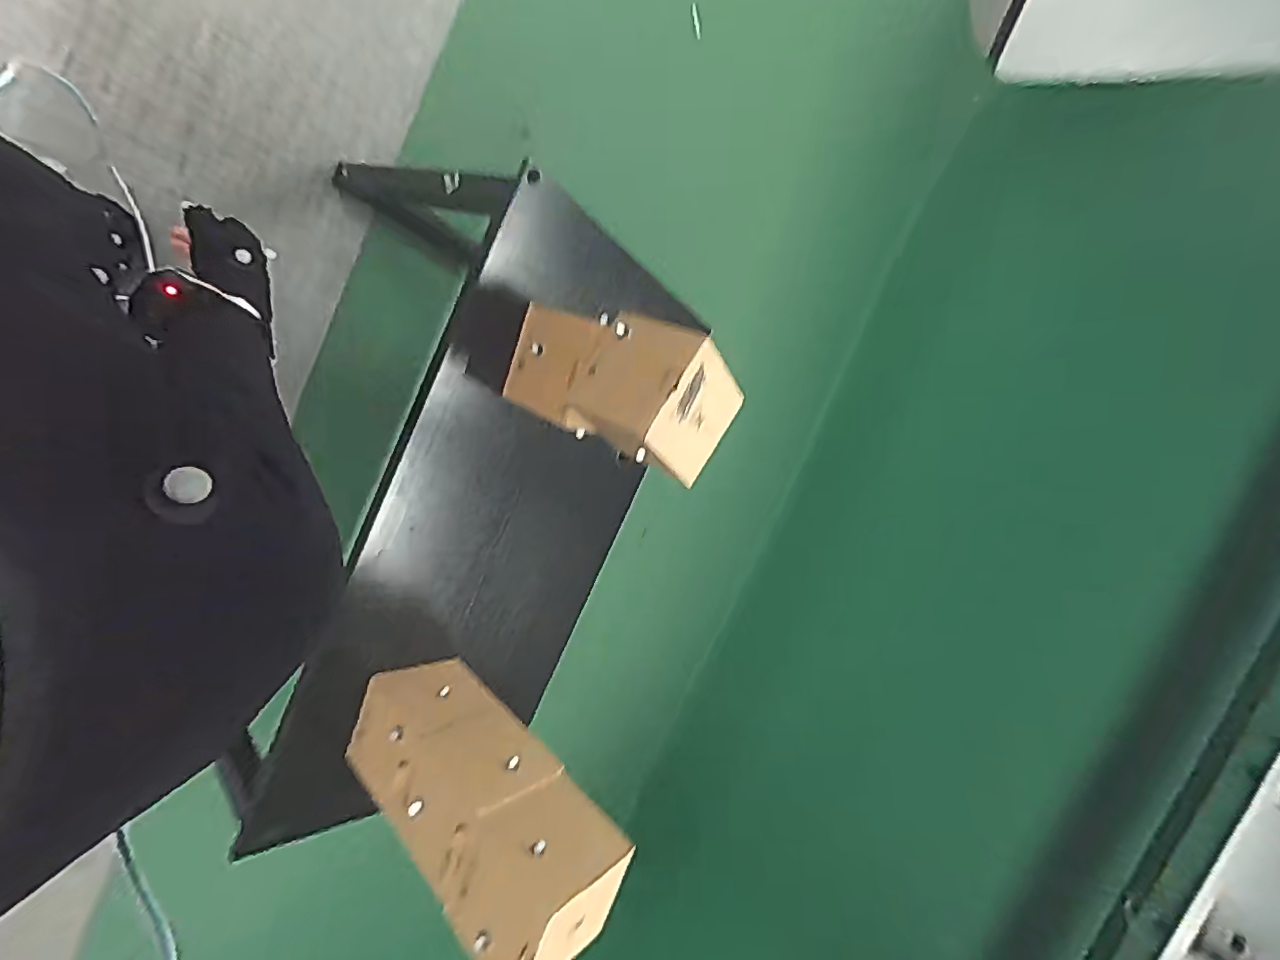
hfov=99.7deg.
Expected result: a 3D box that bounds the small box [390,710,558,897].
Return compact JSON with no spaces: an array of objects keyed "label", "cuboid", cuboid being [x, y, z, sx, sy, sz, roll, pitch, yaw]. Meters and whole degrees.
[{"label":"small box","cuboid":[-0.271,0.509,0.885,0.179,0.176,0.168,6,107,-53]}]

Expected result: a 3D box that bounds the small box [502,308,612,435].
[{"label":"small box","cuboid":[-0.103,-0.182,0.934,0.179,0.176,0.168,6,108,-52]}]

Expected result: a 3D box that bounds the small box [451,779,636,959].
[{"label":"small box","cuboid":[-0.142,0.583,0.784,0.179,0.176,0.168,6,108,-54]}]

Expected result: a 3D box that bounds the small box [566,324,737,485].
[{"label":"small box","cuboid":[0.018,-0.122,0.839,0.168,0.176,0.179,-57,145,-6]}]
